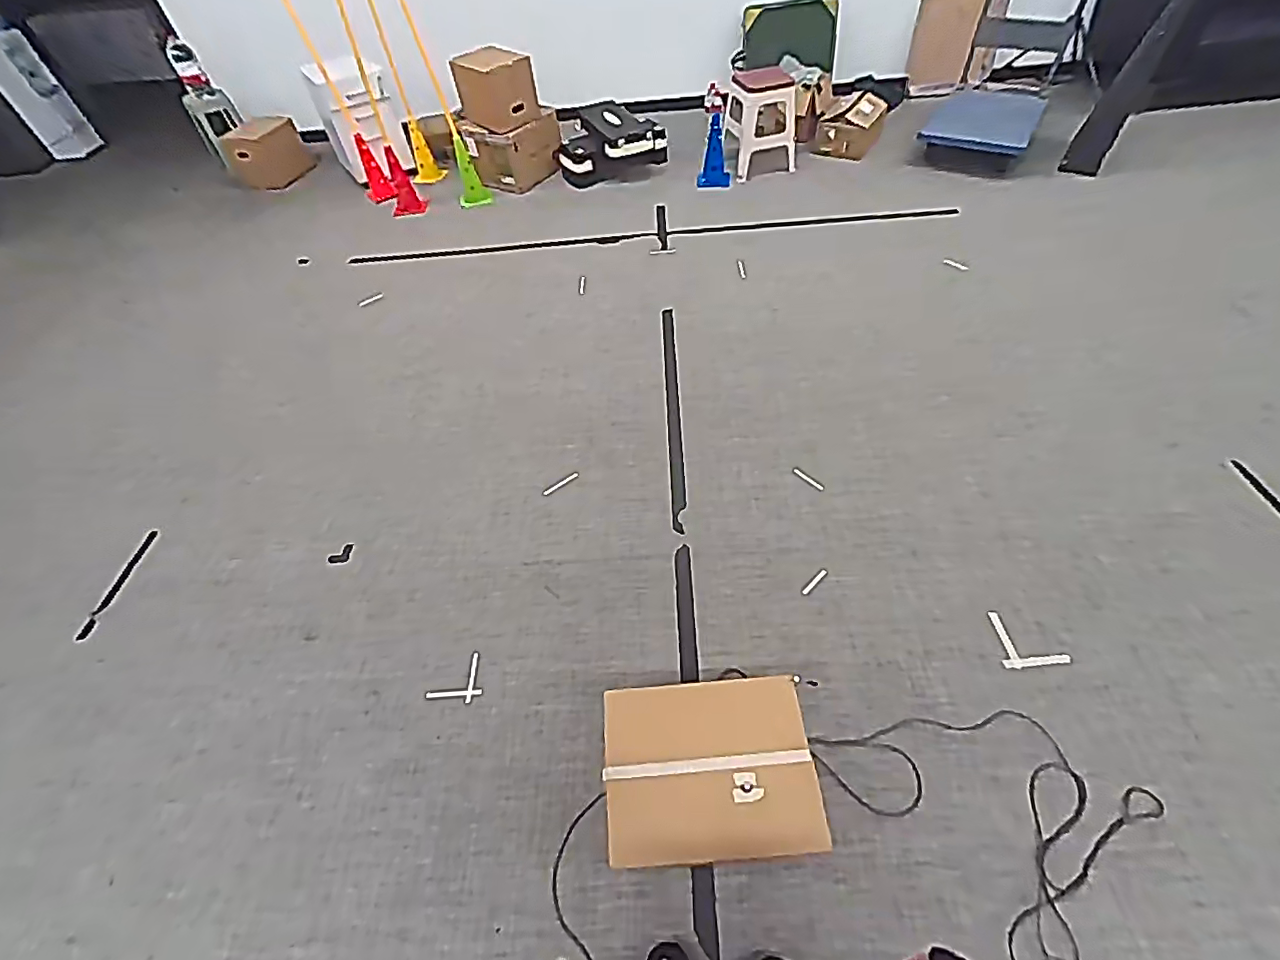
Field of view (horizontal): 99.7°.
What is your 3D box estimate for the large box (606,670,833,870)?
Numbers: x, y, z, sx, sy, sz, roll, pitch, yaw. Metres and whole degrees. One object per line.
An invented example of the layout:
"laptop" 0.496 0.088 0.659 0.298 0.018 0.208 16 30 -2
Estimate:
"large box" 0.145 0.634 1.171 0.408 0.320 0.320 -5 54 0
